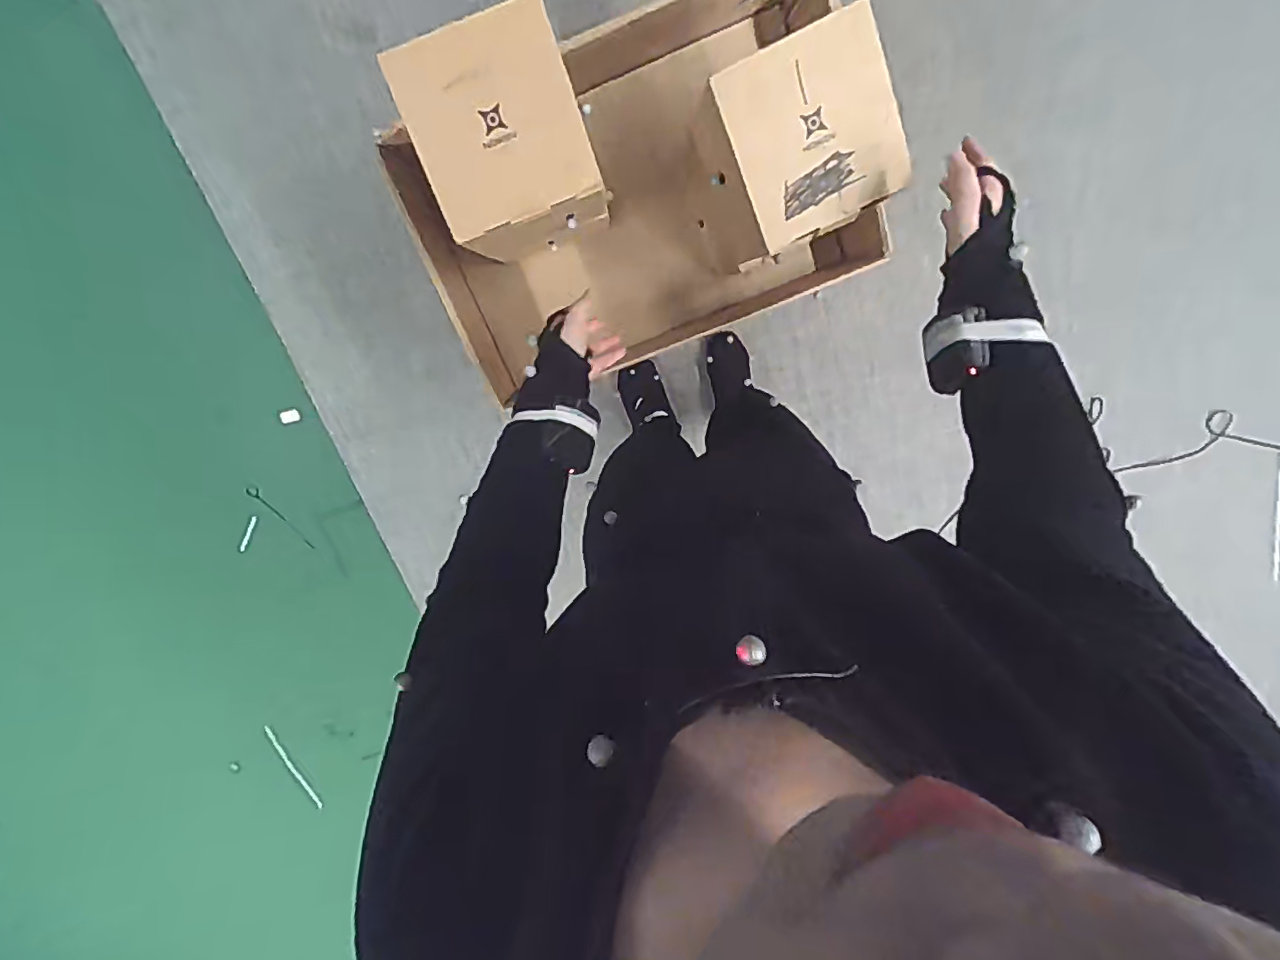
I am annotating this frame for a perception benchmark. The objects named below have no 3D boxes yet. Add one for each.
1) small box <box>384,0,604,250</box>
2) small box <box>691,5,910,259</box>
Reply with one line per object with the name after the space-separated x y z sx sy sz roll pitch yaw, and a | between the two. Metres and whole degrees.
-0.142 -0.370 0.606 0.168 0.176 0.179 -19 108 3 | small box
0.170 -0.369 0.618 0.168 0.176 0.179 -24 107 5 | small box
